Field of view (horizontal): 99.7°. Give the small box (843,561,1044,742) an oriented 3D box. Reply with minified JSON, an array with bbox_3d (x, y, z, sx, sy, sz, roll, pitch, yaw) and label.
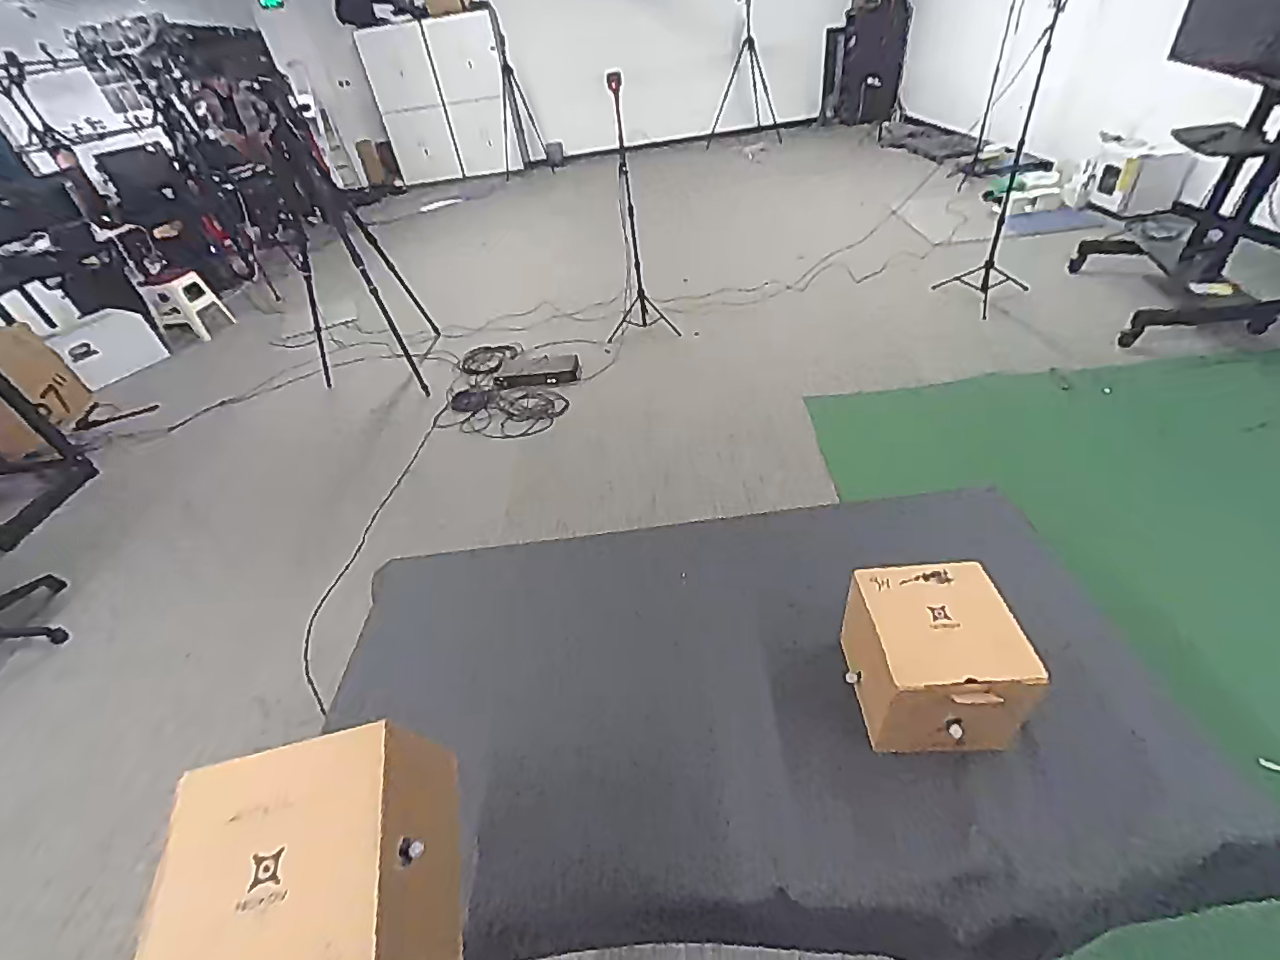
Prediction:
[{"bbox_3d":[0.380,0.231,0.716,0.168,0.176,0.179,-5,41,6],"label":"small box"}]

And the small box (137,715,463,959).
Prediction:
[{"bbox_3d":[-0.256,0.322,0.450,0.168,0.176,0.179,-13,54,-4],"label":"small box"}]
